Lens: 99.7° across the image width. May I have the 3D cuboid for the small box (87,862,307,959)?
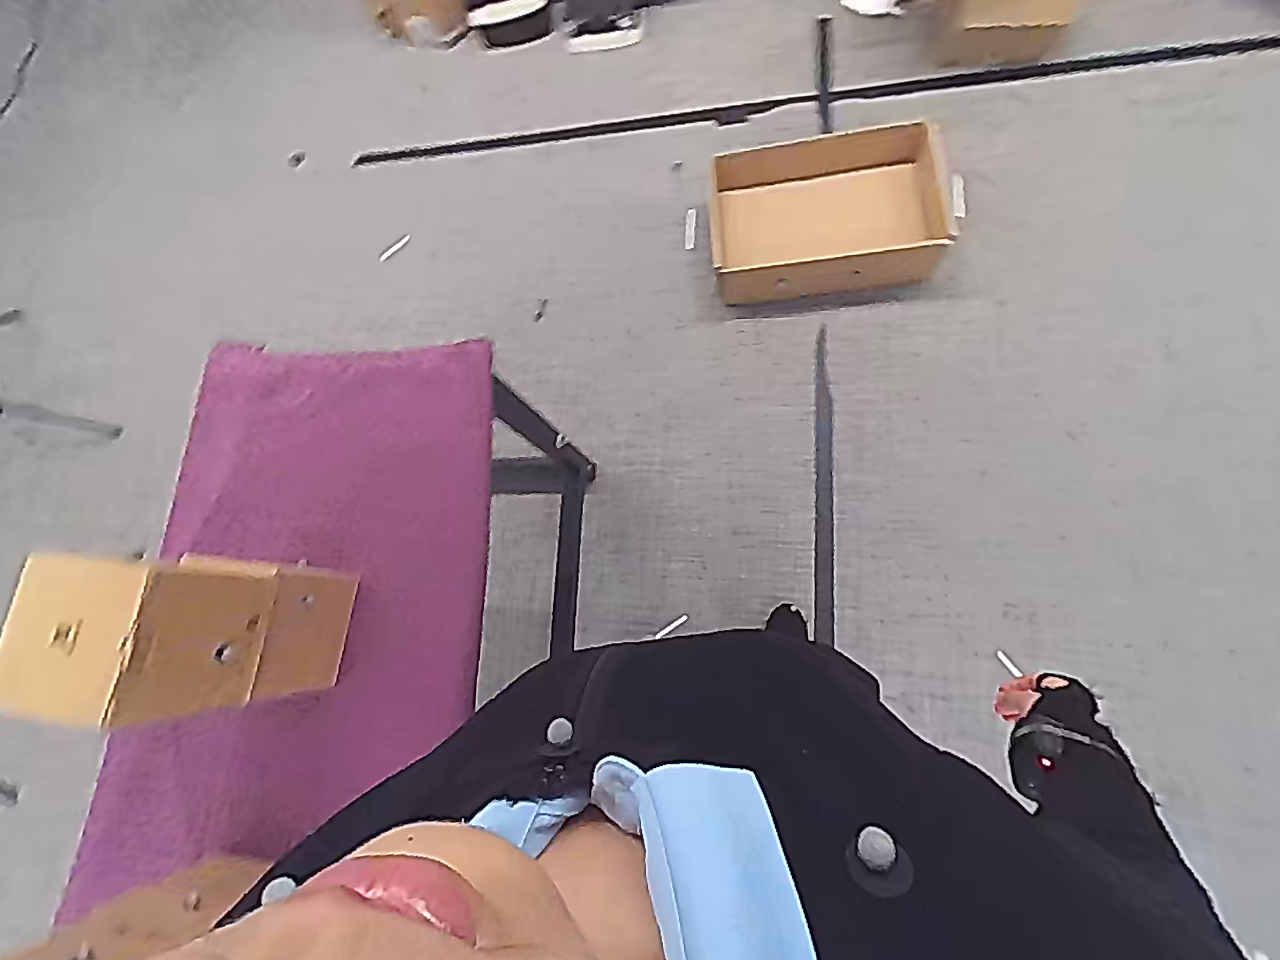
[{"bbox_3d":[-0.578,0.632,0.704,0.179,0.176,0.168,0,76,11],"label":"small box"}]

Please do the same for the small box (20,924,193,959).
[{"bbox_3d":[-0.599,0.595,0.544,0.168,0.176,0.179,0,76,11],"label":"small box"}]

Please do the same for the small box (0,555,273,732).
[{"bbox_3d":[-0.595,0.187,0.647,0.179,0.176,0.168,3,77,11],"label":"small box"}]
